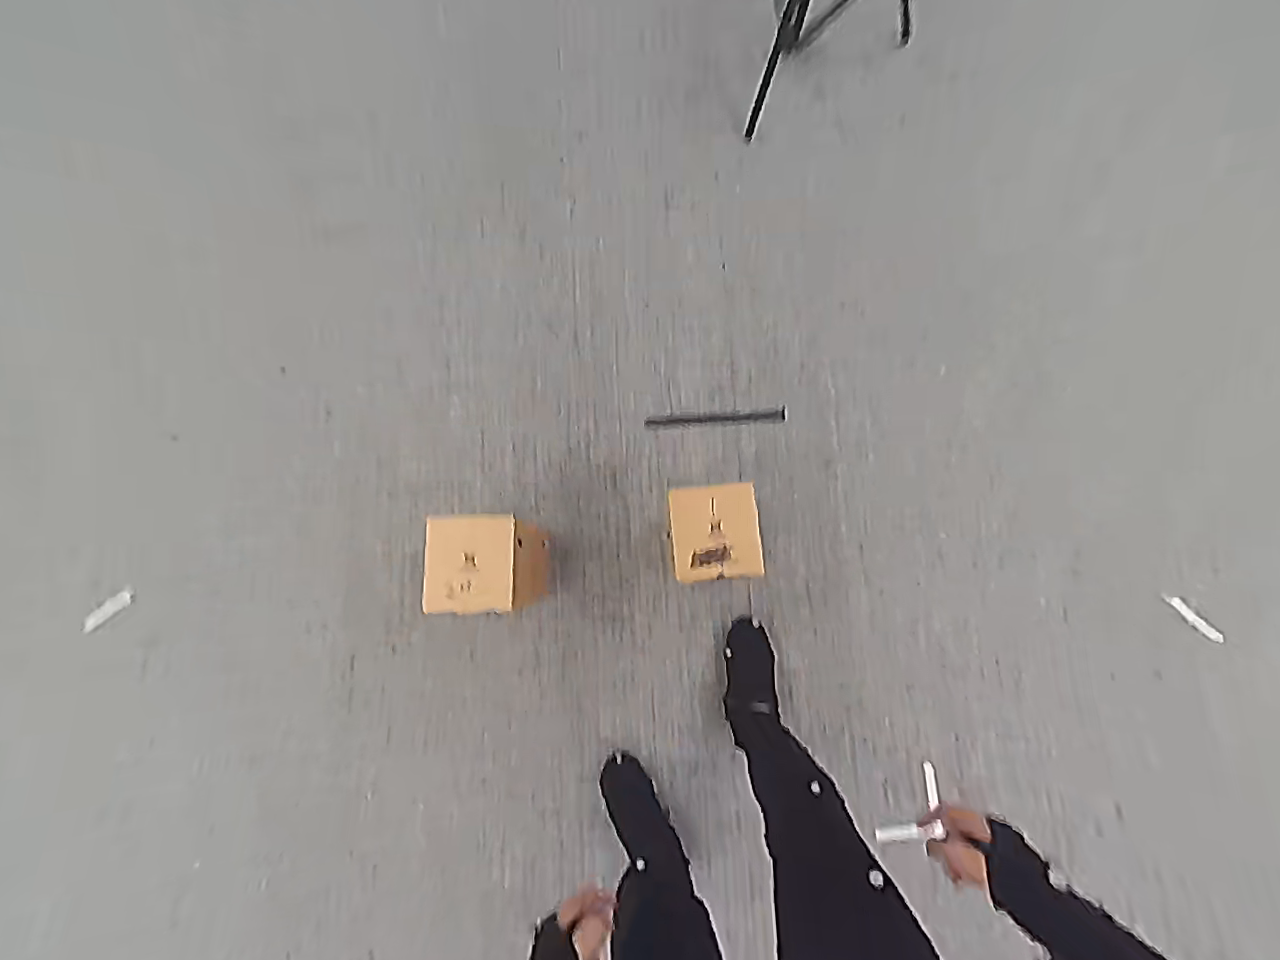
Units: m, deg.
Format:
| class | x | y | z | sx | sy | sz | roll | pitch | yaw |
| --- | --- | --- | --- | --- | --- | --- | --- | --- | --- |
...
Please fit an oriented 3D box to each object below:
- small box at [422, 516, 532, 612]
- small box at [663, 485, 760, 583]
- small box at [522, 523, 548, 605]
| class | x | y | z | sx | sy | sz | roll | pitch | yaw |
| --- | --- | --- | --- | --- | --- | --- | --- | --- | --- |
| small box | -0.315 | 0.169 | 1.076 | 0.168 | 0.176 | 0.179 | -1 | 80 | 1 |
| small box | 0.136 | 0.114 | 1.090 | 0.168 | 0.176 | 0.179 | -5 | 78 | -1 |
| small box | -0.308 | 0.195 | 1.238 | 0.168 | 0.176 | 0.179 | 0 | 79 | 0 |
